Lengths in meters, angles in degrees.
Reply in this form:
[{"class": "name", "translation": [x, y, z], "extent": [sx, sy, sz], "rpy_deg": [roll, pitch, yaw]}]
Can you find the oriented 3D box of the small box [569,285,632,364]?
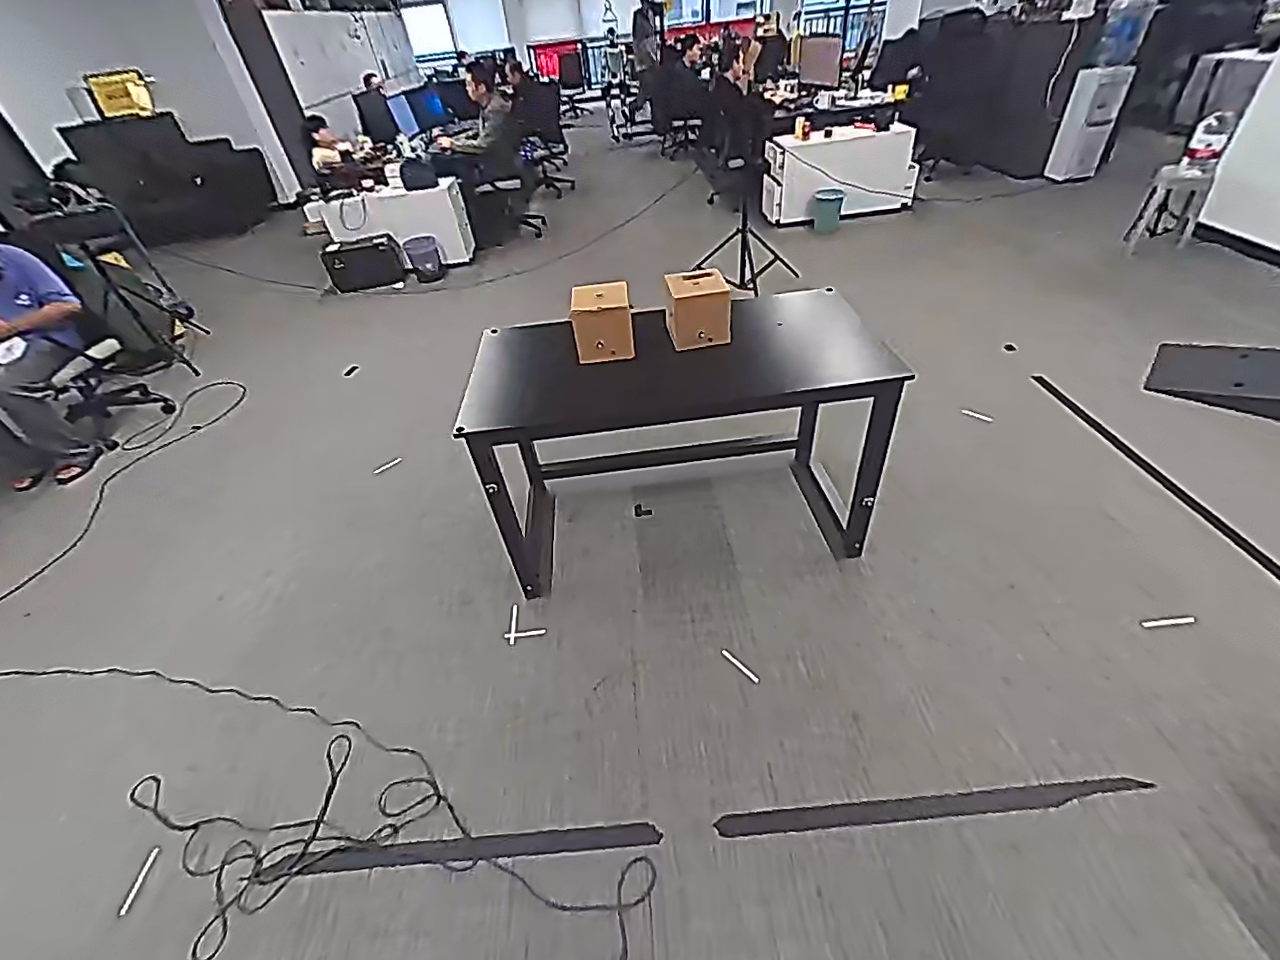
[{"class": "small box", "translation": [-0.116, -0.470, 1.635], "extent": [0.168, 0.176, 0.179], "rpy_deg": [-7, 41, 1]}]
